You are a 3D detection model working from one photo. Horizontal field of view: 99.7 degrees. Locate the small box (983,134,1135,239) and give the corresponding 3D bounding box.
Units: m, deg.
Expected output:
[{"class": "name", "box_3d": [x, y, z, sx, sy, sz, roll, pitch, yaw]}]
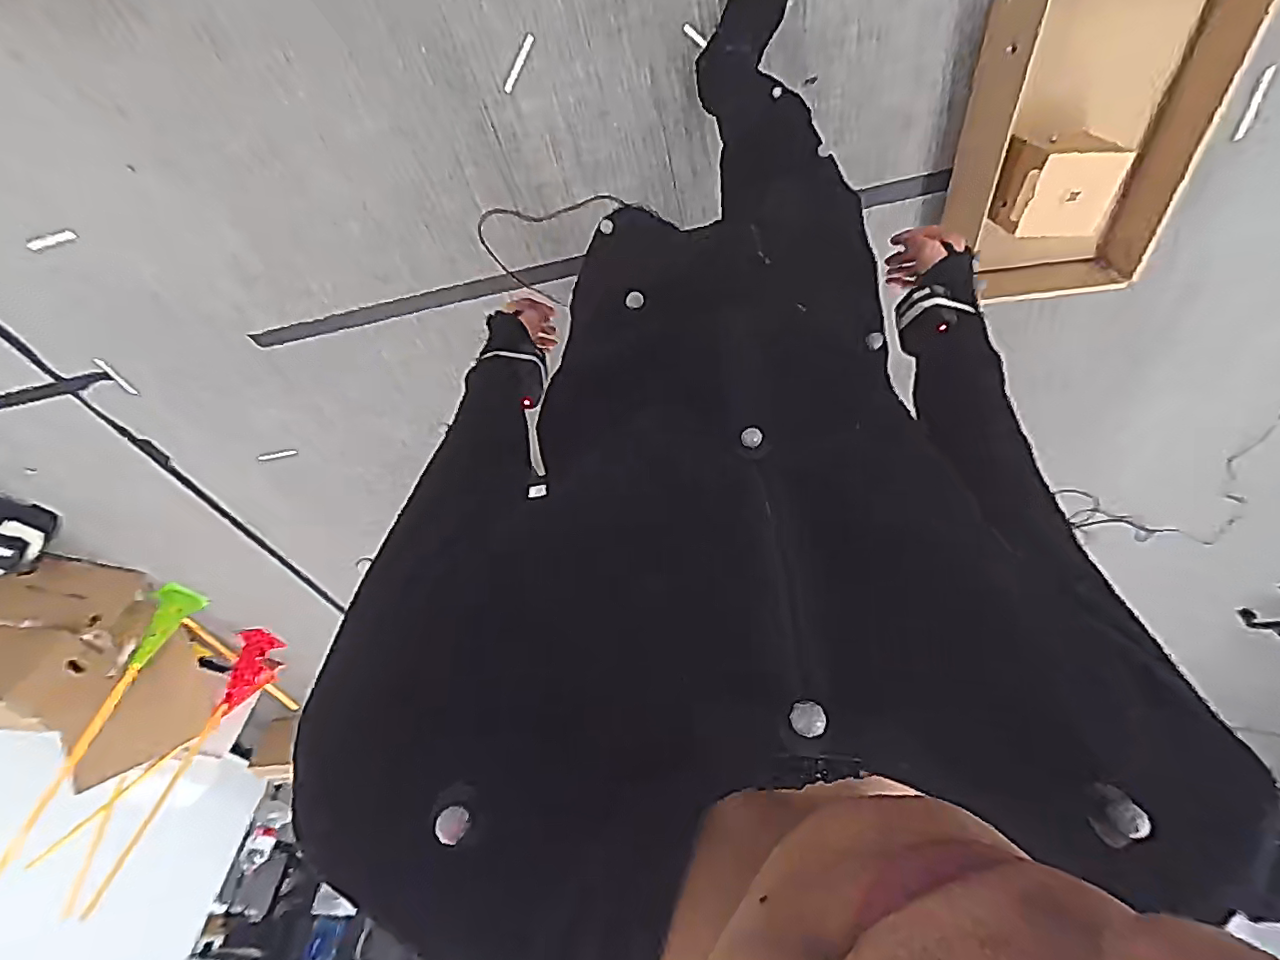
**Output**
[{"class": "small box", "box_3d": [0.898, -0.643, 1.183, 0.179, 0.176, 0.168, 0, 134, 1]}]
